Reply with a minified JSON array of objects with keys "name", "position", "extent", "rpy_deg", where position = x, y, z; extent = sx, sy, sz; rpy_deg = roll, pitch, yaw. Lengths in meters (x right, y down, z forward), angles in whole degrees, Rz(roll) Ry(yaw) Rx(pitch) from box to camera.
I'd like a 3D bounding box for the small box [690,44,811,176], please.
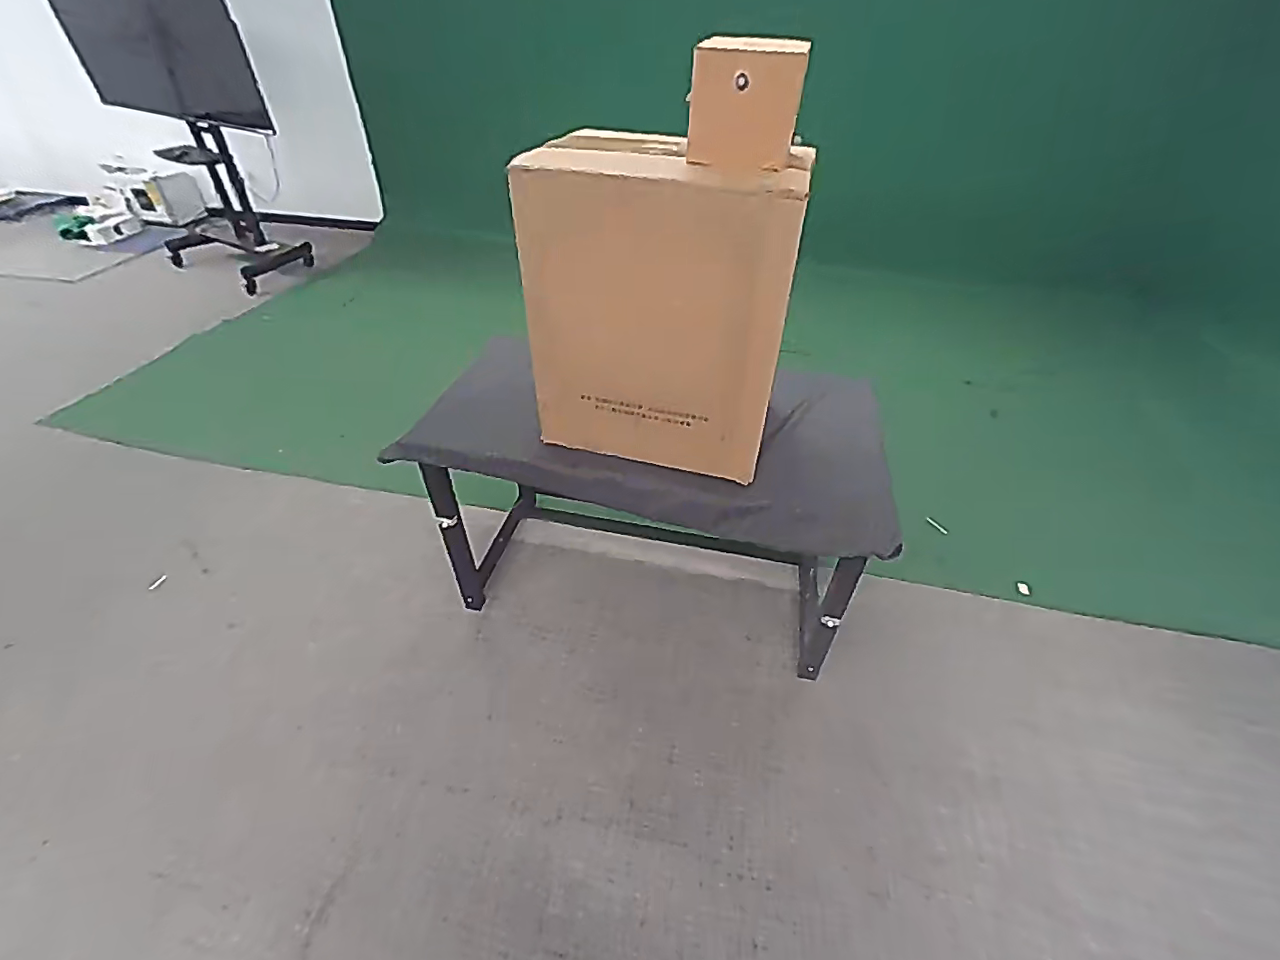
[{"name":"small box","position":[0.192,-0.657,0.961],"extent":[0.179,0.176,0.168],"rpy_deg":[13,45,9]}]
